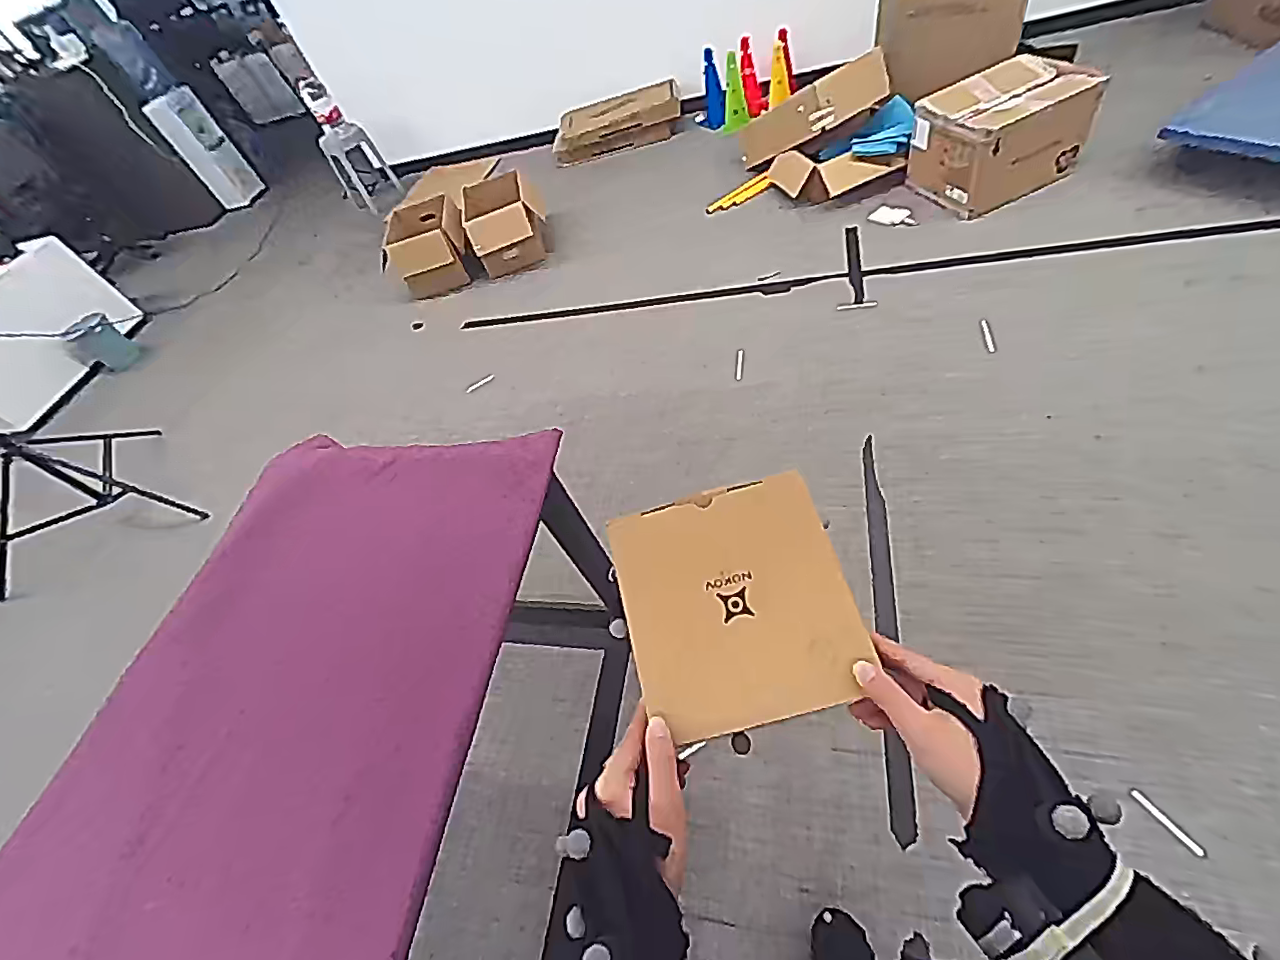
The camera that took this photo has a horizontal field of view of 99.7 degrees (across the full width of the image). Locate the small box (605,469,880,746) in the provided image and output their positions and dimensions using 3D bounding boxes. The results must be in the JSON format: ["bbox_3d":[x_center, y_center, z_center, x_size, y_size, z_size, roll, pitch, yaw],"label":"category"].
[{"bbox_3d":[0.079,0.120,0.473,0.168,0.176,0.179,-15,62,1],"label":"small box"}]
